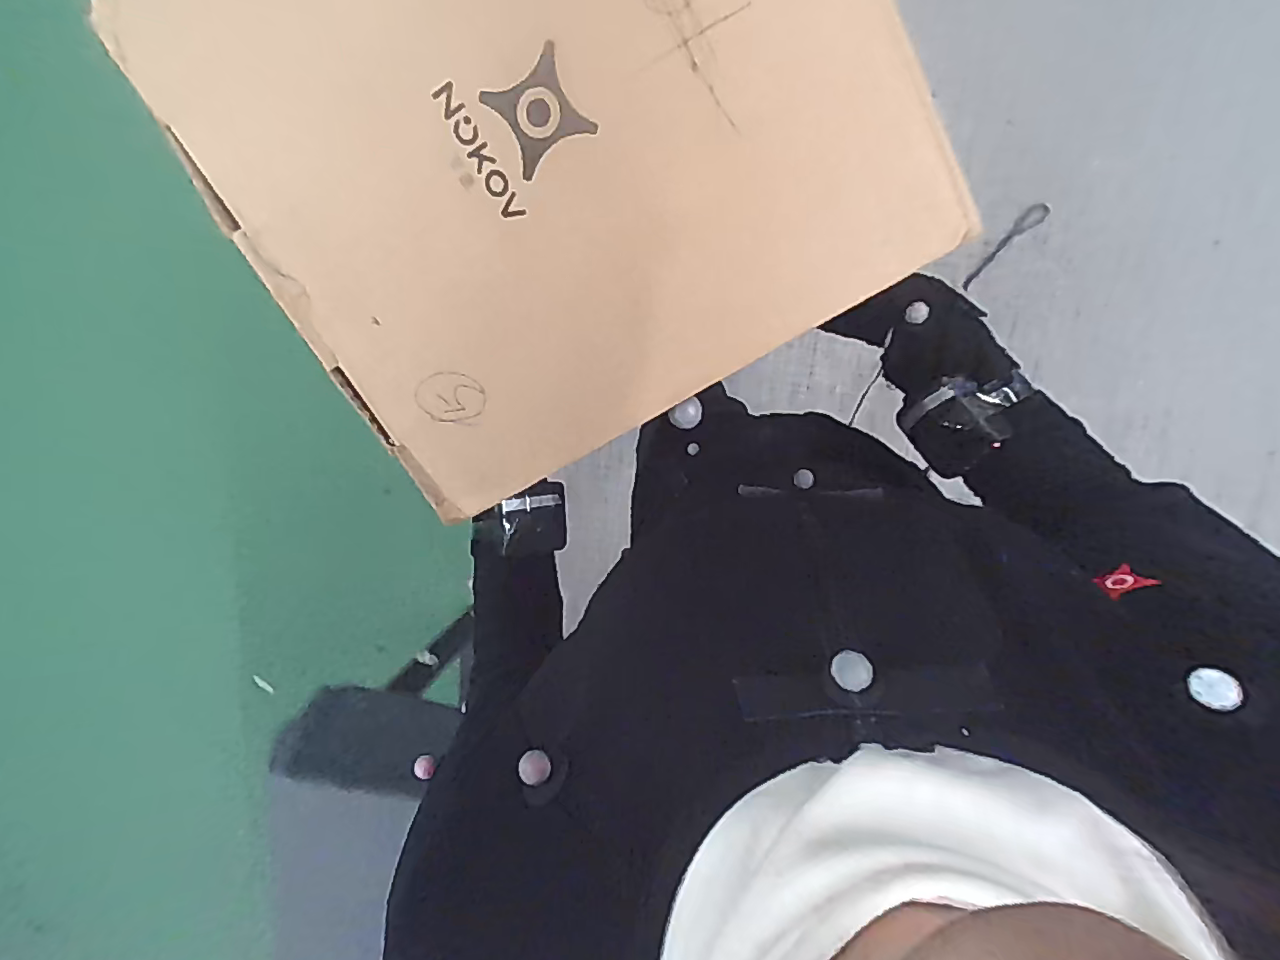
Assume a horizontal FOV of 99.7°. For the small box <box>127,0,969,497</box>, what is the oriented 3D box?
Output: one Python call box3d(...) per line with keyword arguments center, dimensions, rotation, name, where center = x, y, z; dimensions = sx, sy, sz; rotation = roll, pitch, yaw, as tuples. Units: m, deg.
box3d(center=(-0.018, -0.122, 0.219), dimensions=(0.179, 0.176, 0.168), rotation=(-27, 105, 13), name="small box")
